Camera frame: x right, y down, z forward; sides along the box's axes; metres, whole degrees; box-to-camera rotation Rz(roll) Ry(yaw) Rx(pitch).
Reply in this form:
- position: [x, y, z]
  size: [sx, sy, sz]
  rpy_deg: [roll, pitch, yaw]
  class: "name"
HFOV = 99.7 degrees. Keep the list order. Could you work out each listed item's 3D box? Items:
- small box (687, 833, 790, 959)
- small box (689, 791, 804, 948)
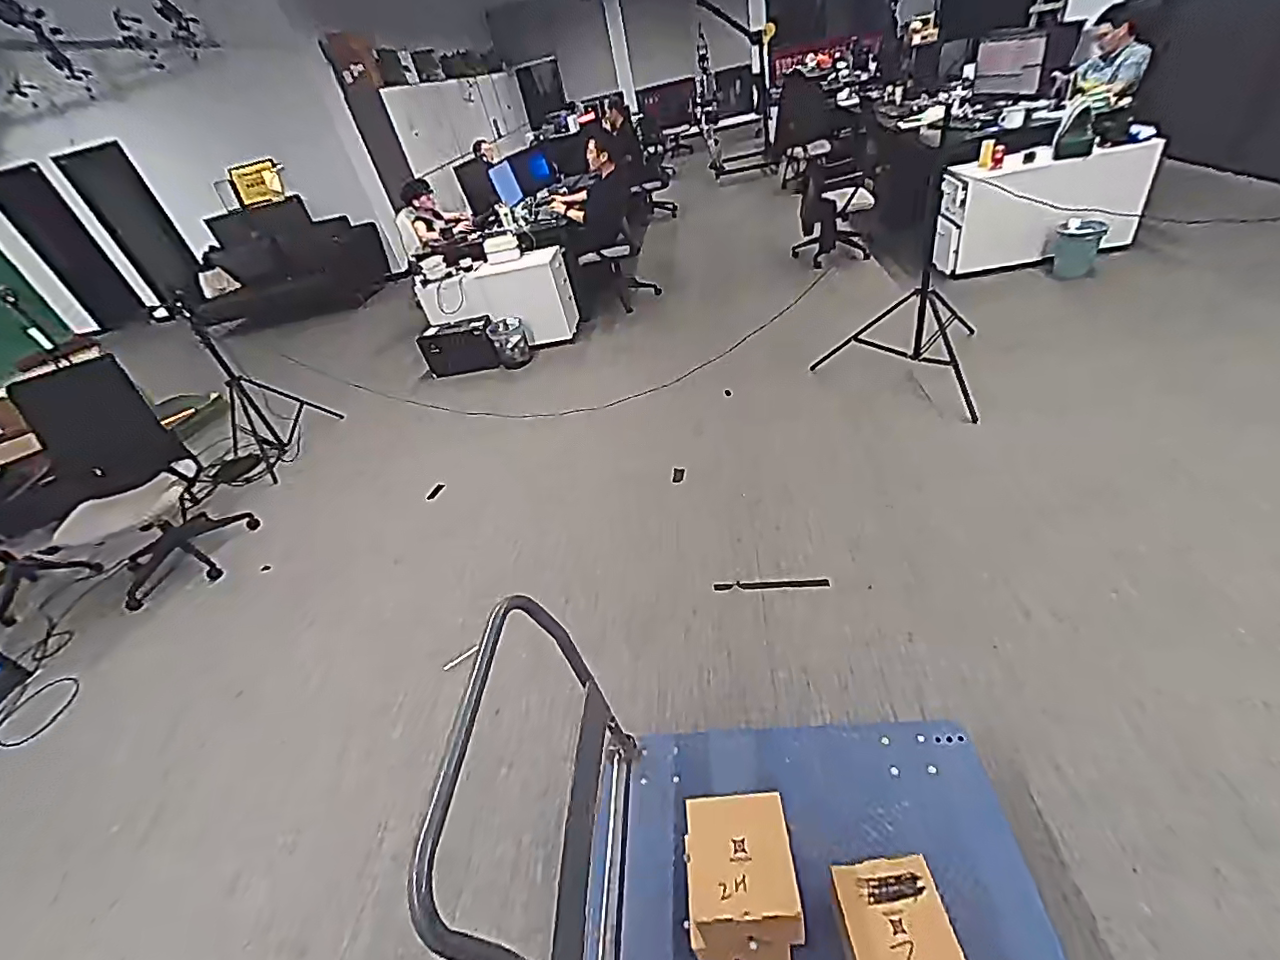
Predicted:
- position: [0.185, 0.795, 1.027]
  size: [0.168, 0.176, 0.179]
  rpy_deg: [-9, 38, 6]
  class: "small box"
- position: [0.178, 0.664, 0.924]
  size: [0.168, 0.176, 0.179]
  rpy_deg: [-9, 38, 7]
  class: "small box"
